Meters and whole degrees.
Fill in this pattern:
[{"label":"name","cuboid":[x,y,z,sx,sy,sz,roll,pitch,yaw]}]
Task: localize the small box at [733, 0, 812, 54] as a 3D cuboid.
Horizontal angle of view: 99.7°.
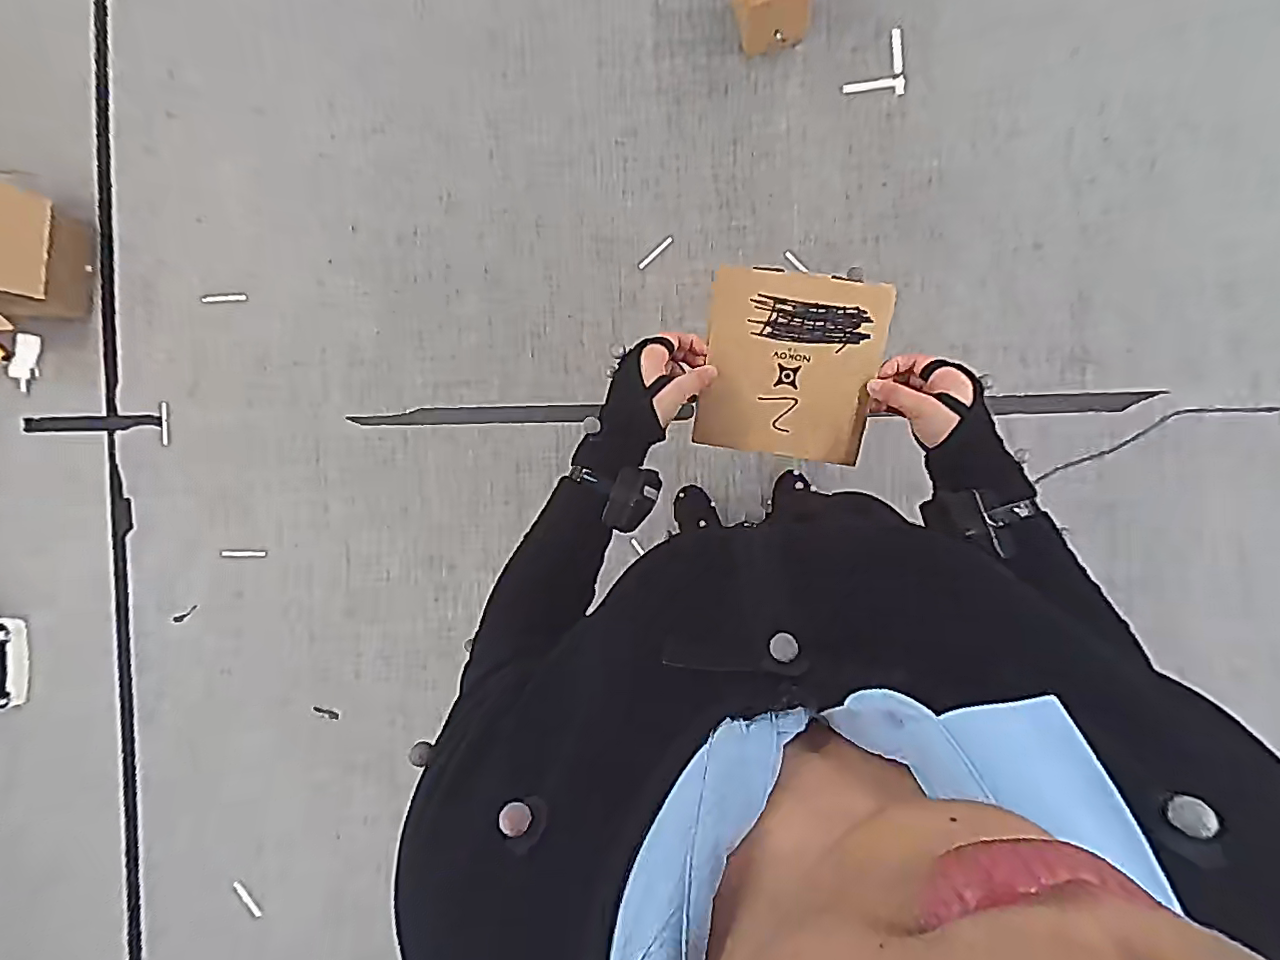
[{"label":"small box","cuboid":[0.337,-1.260,1.387,0.168,0.176,0.179,-13,89,8]}]
